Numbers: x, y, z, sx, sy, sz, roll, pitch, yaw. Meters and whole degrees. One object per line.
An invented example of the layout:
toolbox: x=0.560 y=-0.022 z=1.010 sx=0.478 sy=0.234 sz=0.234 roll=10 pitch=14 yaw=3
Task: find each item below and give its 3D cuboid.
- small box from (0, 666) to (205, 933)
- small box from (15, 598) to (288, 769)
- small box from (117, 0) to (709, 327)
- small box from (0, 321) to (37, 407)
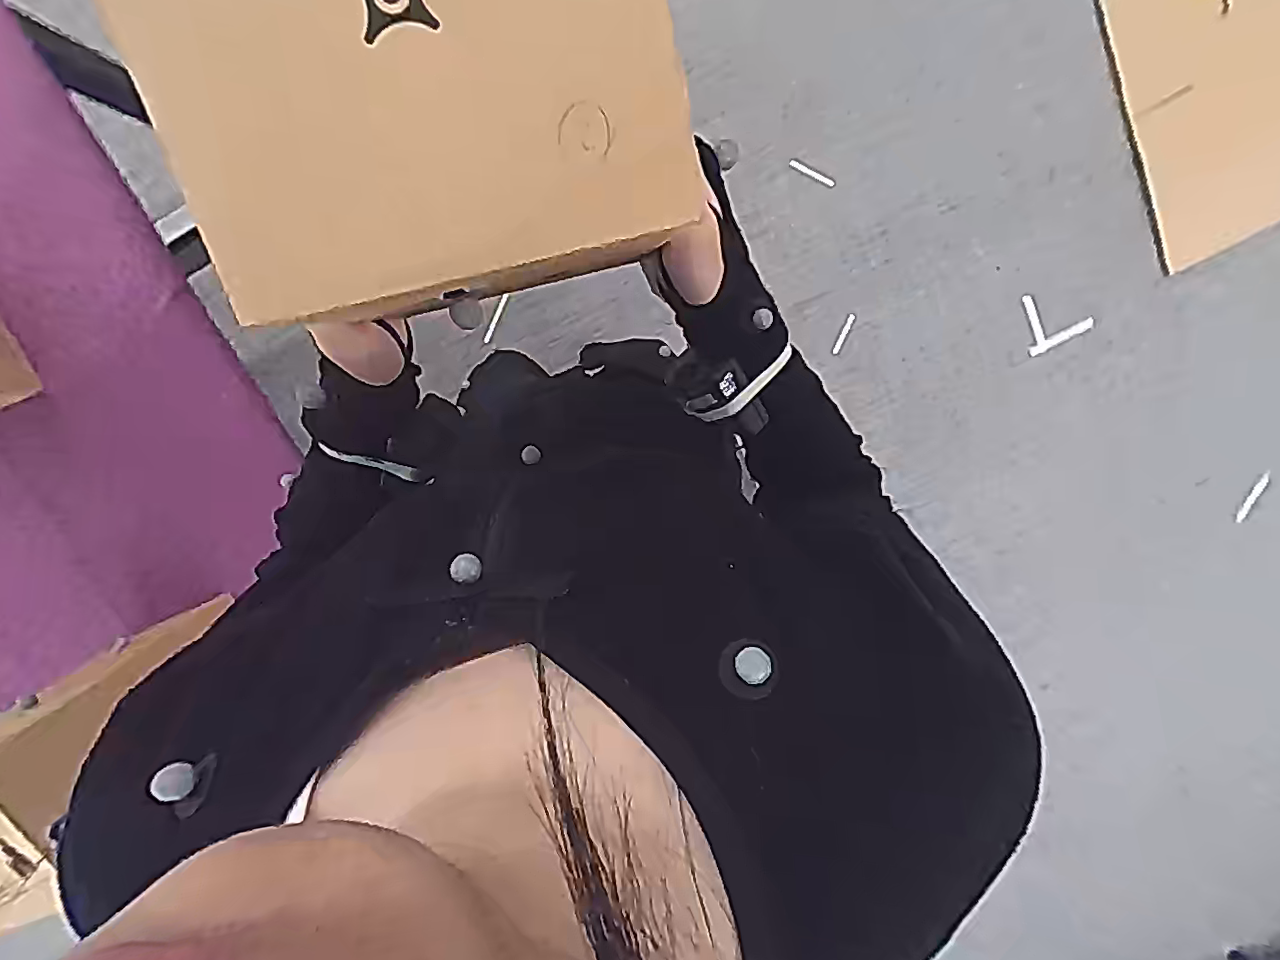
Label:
small box: x=-0.630 y=0.332 z=0.571 sx=0.179 sy=0.176 sz=0.168 roll=-23 pitch=104 yaw=5
small box: x=-0.634 y=0.289 z=0.729 sx=0.179 sy=0.176 sz=0.168 roll=-24 pitch=104 yaw=4
small box: x=-0.076 y=-0.174 z=0.236 sx=0.168 sy=0.176 sz=0.179 roll=-13 pitch=108 yaw=-1
small box: x=-0.878 y=-0.140 z=0.609 sx=0.179 sy=0.176 sz=0.168 roll=-20 pitch=105 yaw=4
